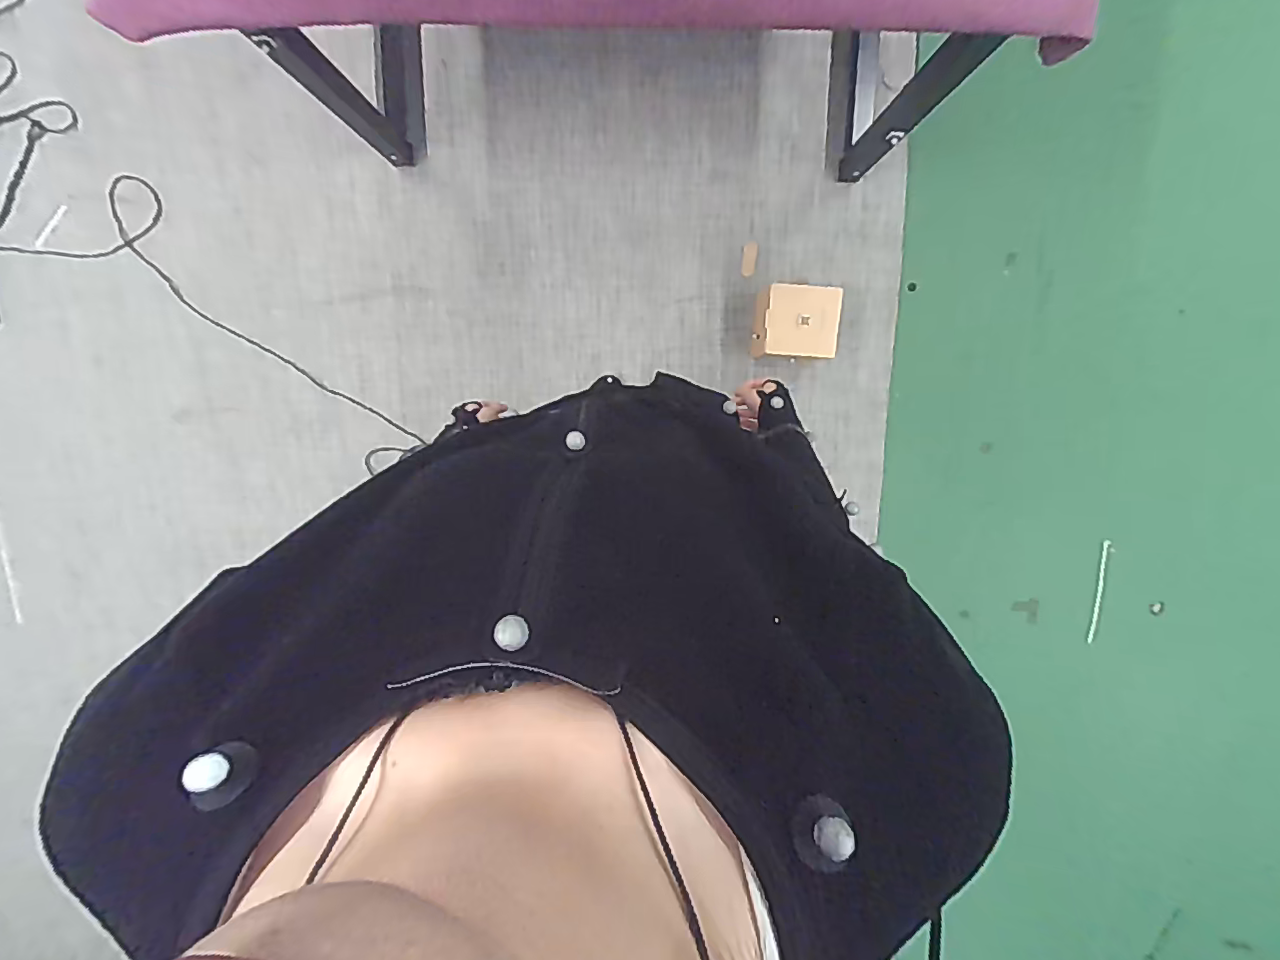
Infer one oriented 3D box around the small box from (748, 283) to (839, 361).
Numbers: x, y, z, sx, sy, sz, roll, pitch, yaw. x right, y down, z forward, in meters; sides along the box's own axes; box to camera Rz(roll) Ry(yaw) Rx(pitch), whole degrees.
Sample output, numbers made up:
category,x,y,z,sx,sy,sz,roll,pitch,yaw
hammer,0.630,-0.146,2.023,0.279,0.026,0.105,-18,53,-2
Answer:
category,x,y,z,sx,sy,sz,roll,pitch,yaw
small box,0.378,-0.392,1.368,0.179,0.176,0.168,4,100,-2
